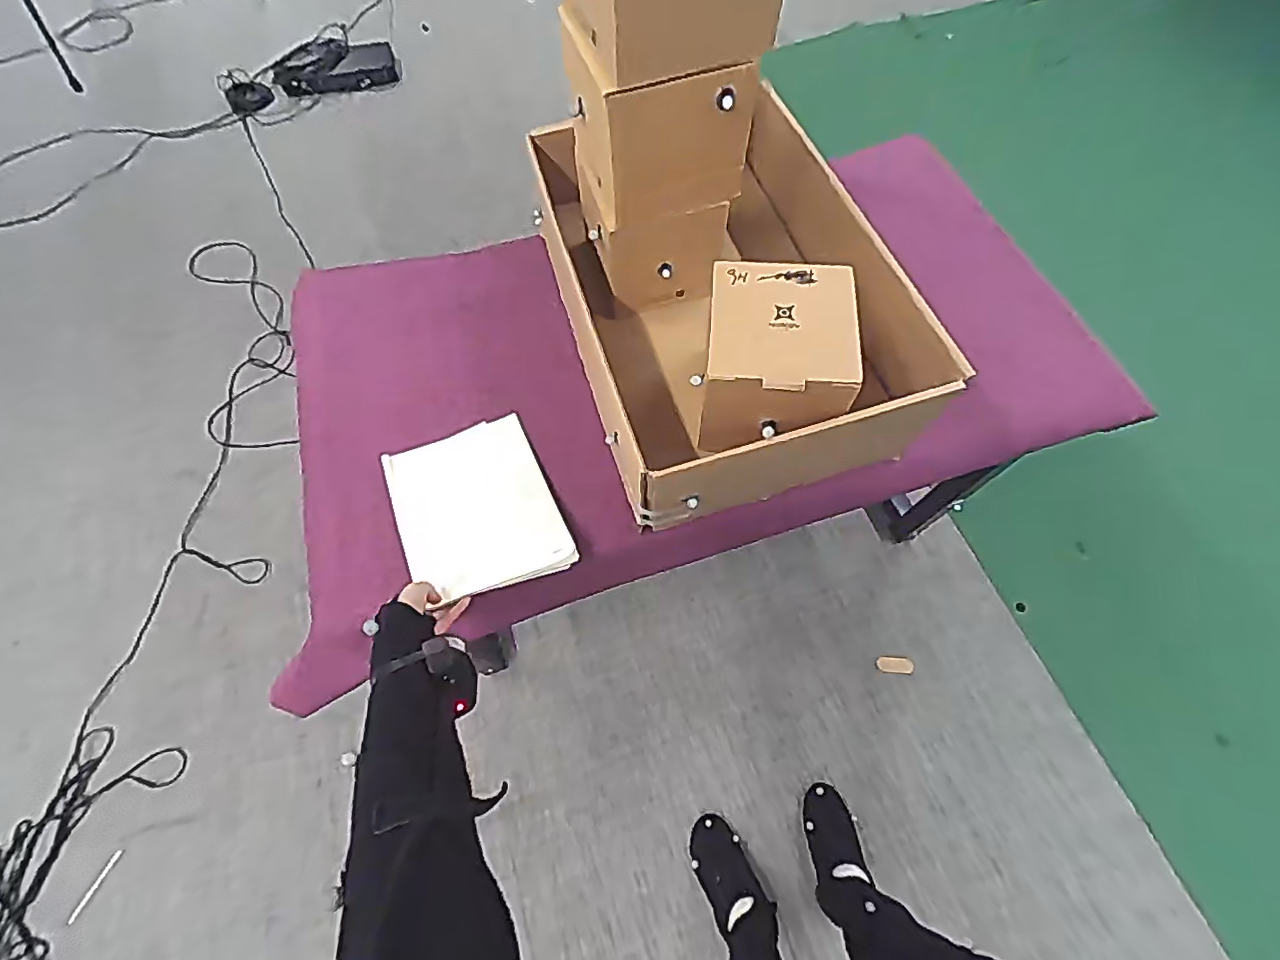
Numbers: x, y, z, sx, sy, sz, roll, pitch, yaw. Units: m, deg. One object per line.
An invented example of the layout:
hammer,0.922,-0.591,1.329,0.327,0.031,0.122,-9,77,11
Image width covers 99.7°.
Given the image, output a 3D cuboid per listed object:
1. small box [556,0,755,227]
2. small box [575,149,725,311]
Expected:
small box,0.016,-0.439,0.651,0.179,0.176,0.168,-19,67,-7
small box,0.014,-0.373,0.799,0.168,0.176,0.179,-16,67,-6
